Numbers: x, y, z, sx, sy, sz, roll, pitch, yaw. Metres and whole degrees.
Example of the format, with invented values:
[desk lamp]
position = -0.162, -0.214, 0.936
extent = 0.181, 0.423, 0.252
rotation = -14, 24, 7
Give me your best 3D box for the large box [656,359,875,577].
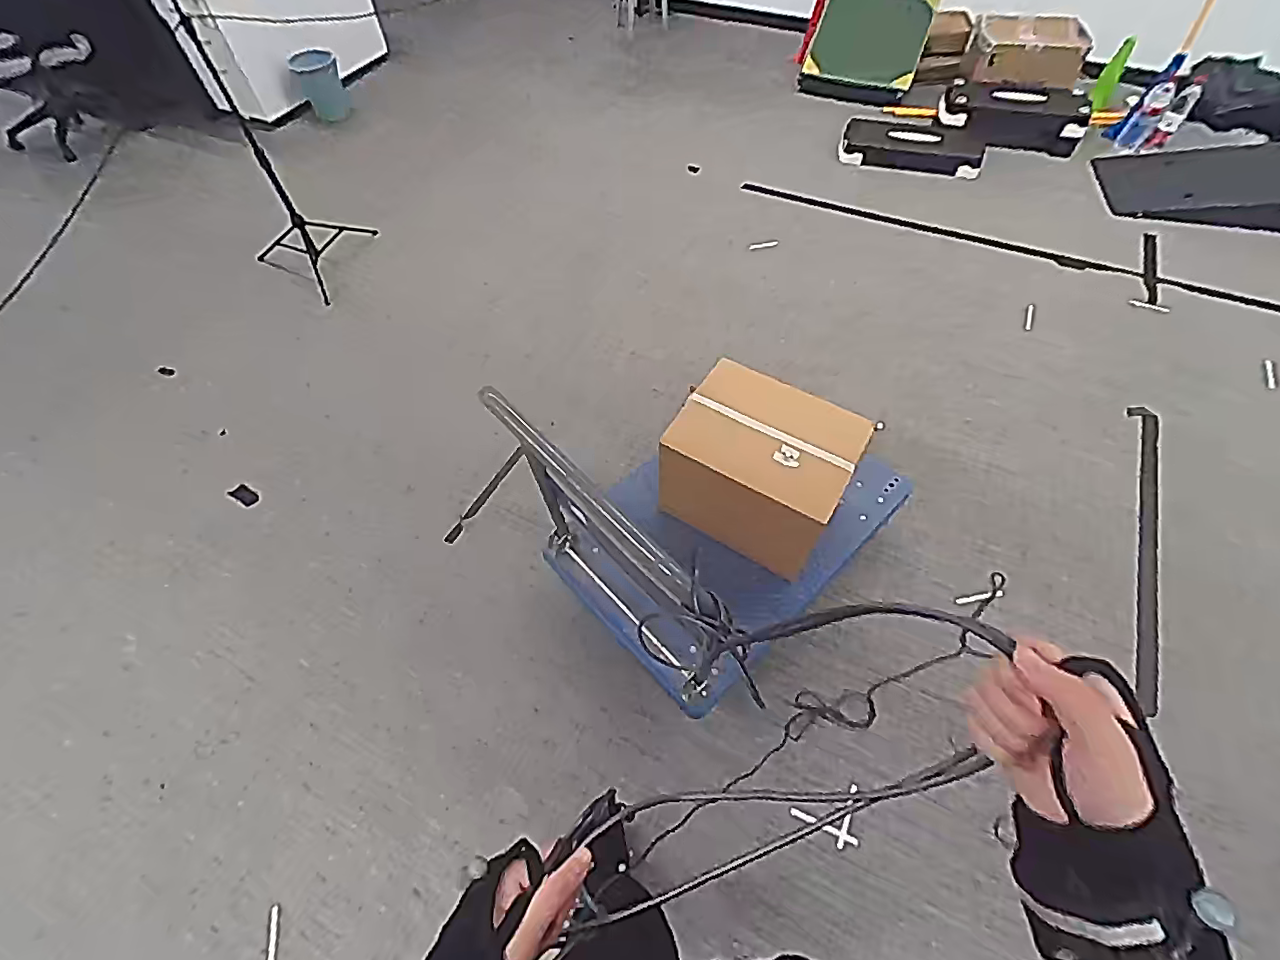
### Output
[large box]
position = 0.287, -0.028, 1.341
extent = 0.408, 0.320, 0.320
rotation = 28, 63, 17
